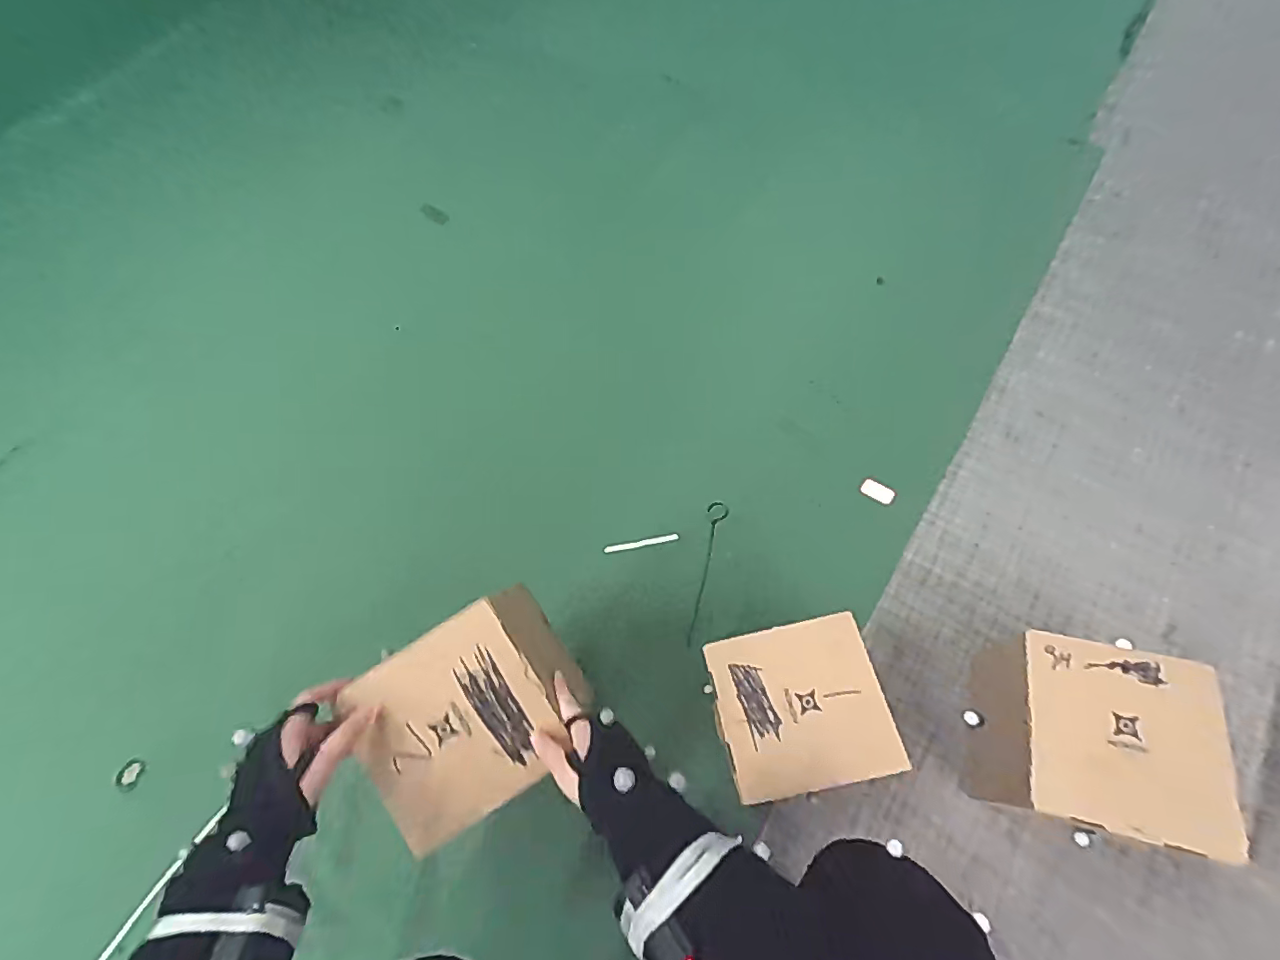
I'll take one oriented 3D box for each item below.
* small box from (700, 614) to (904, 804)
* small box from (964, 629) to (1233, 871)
[{"bbox_3d":[0.181,0.279,0.651,0.179,0.176,0.168,-14,61,3],"label":"small box"},{"bbox_3d":[0.474,0.283,0.591,0.168,0.176,0.179,10,66,16],"label":"small box"}]
